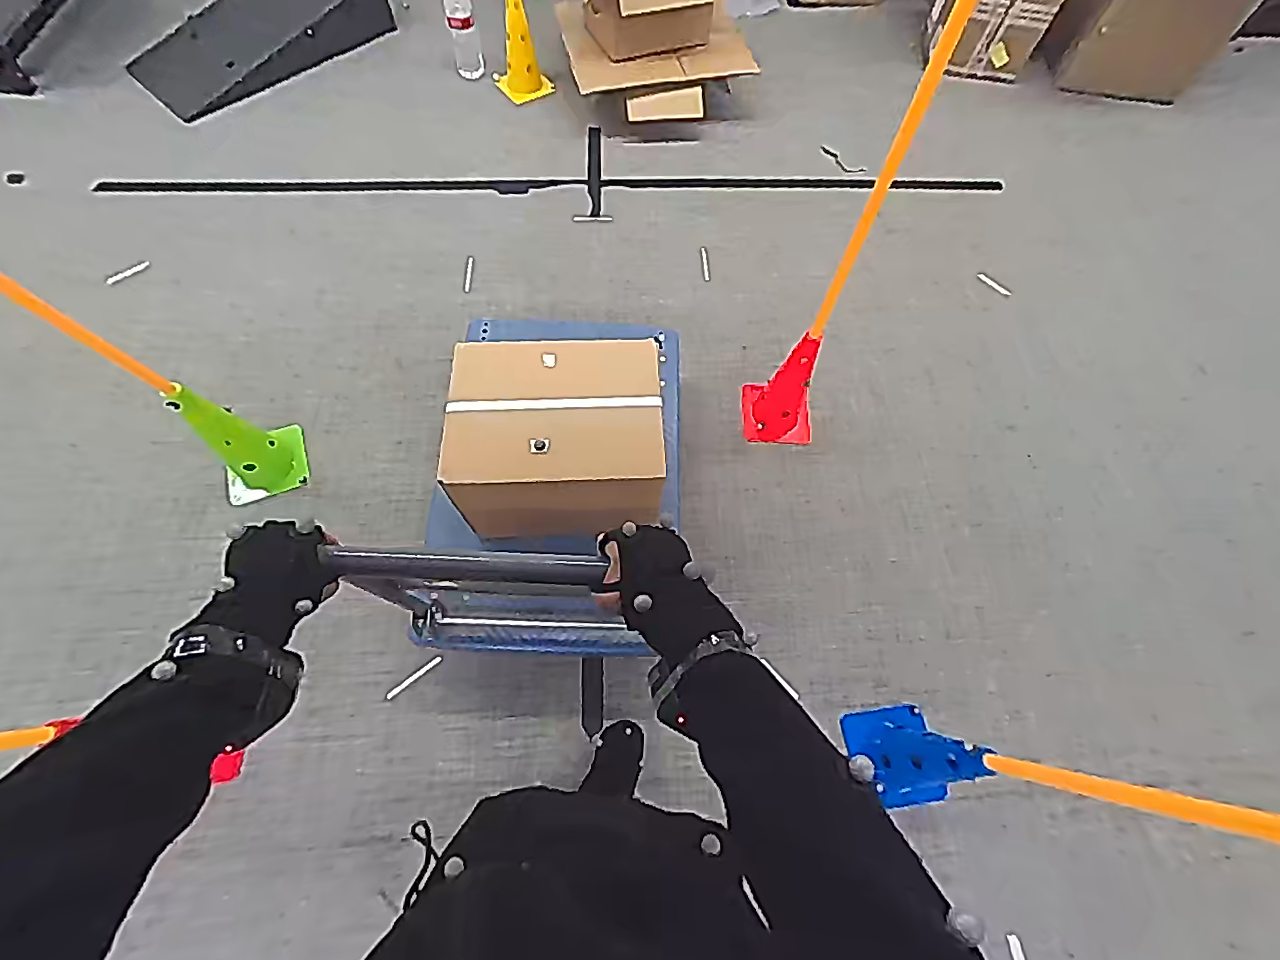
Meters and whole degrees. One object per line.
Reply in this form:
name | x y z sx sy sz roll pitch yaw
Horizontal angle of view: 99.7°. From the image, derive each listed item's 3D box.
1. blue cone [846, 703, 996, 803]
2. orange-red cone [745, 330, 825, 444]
blue cone | 0.588 0.547 1.086 0.193 0.380 0.192 -5 64 -5
orange-red cone | 0.419 -0.271 1.449 0.199 0.360 0.198 5 65 -1
